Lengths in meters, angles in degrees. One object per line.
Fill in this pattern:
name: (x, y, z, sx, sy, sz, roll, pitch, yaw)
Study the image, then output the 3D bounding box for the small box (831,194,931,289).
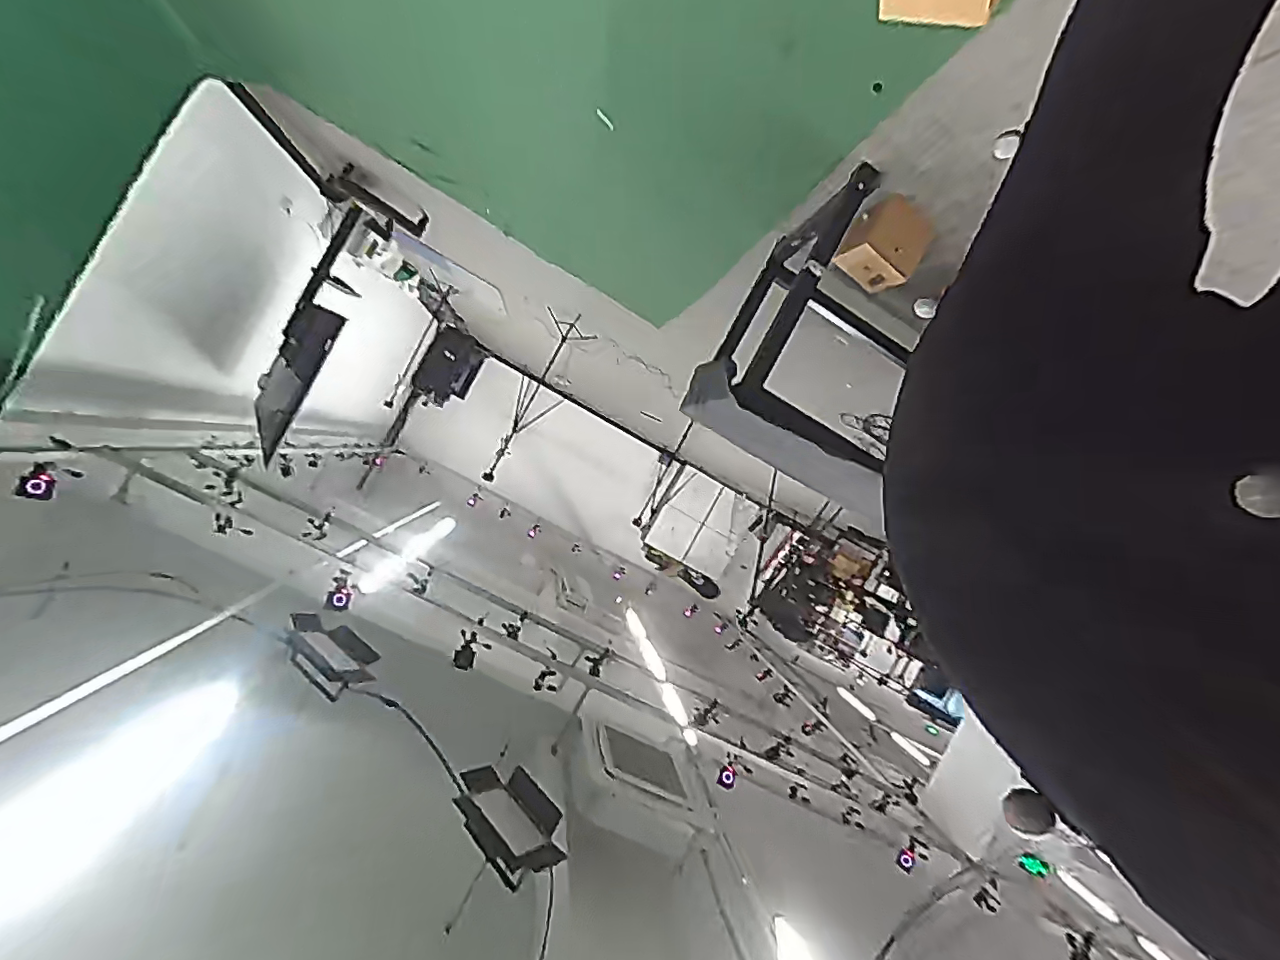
small box: (0.713, -0.699, 1.594, 0.179, 0.176, 0.168, 30, 178, -16)

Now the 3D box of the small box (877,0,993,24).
small box: (0.486, -0.847, 0.819, 0.179, 0.176, 0.168, 27, 178, 25)
